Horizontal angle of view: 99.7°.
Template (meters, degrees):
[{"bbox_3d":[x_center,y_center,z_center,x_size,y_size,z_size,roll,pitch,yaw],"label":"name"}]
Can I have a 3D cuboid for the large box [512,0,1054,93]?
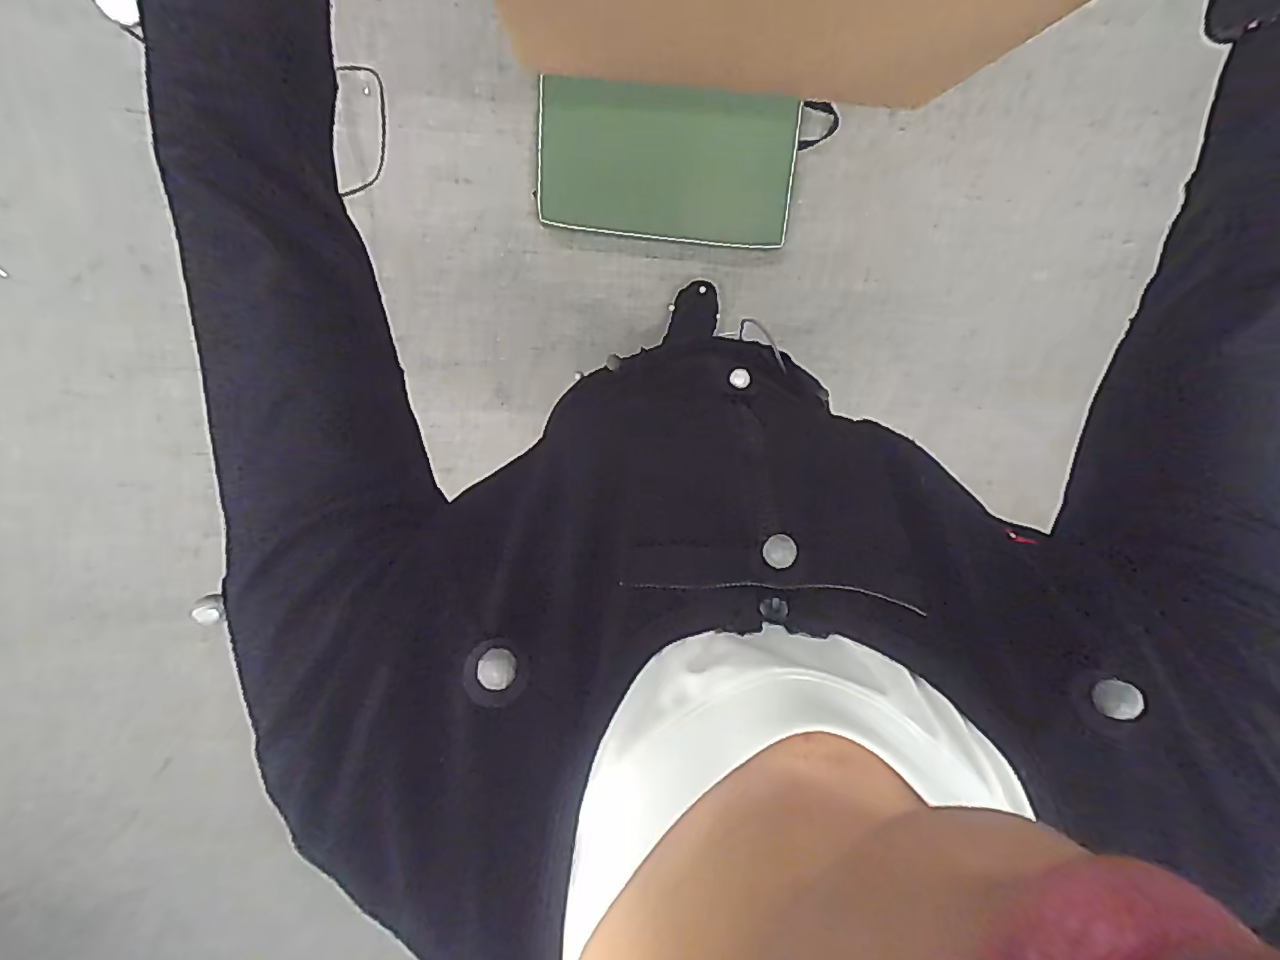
[{"bbox_3d":[0.104,-0.494,0.350,0.408,0.320,0.320,2,109,-5],"label":"large box"}]
